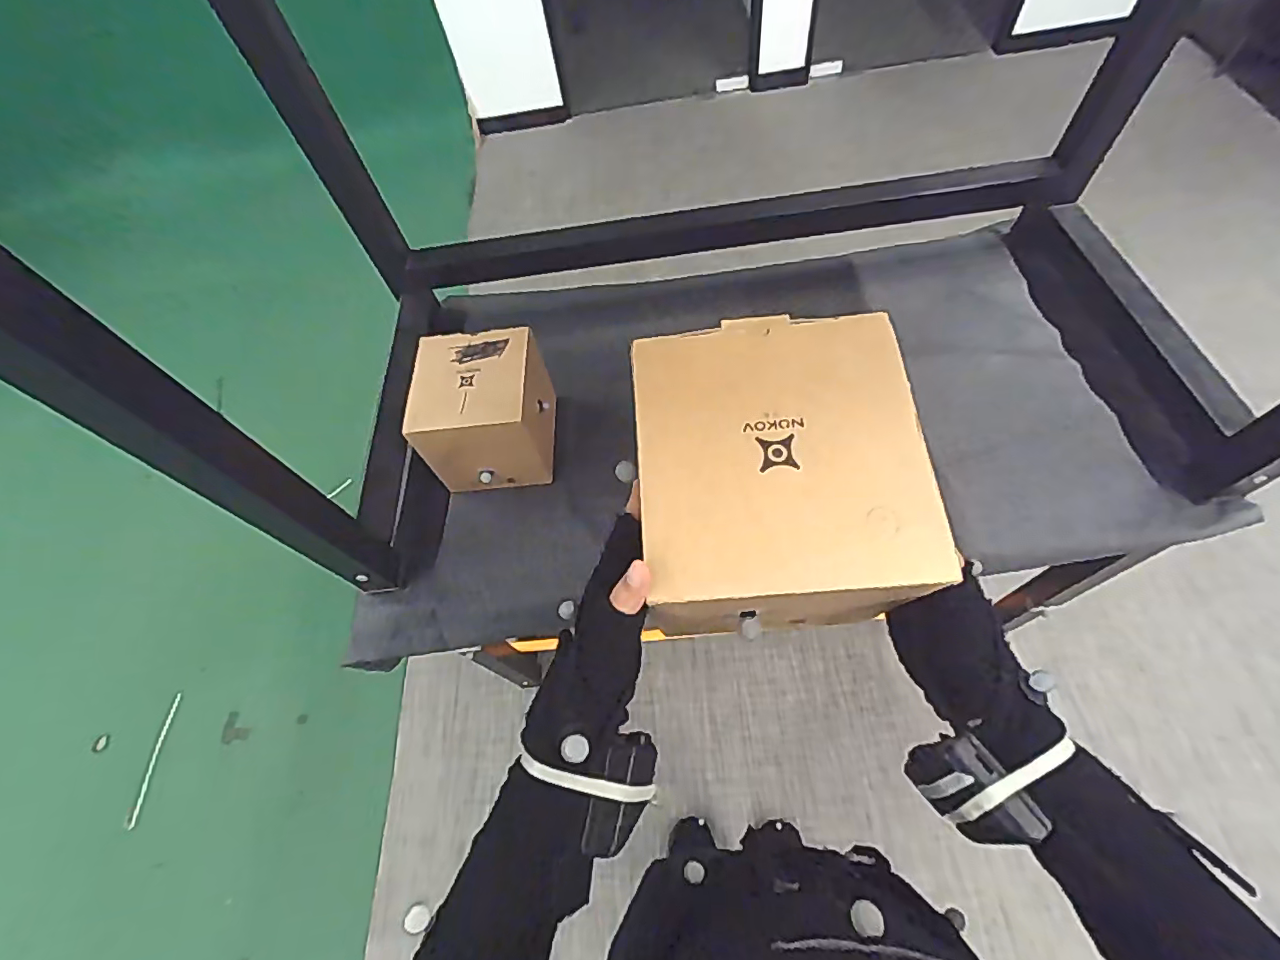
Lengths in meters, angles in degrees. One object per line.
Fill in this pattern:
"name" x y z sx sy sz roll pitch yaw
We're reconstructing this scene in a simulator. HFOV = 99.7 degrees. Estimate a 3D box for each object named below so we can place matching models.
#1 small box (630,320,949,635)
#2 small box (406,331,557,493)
"small box" 0.087 0.015 0.394 0.168 0.176 0.179 -6 67 4
"small box" -0.227 -0.099 0.824 0.168 0.176 0.179 -5 61 4
